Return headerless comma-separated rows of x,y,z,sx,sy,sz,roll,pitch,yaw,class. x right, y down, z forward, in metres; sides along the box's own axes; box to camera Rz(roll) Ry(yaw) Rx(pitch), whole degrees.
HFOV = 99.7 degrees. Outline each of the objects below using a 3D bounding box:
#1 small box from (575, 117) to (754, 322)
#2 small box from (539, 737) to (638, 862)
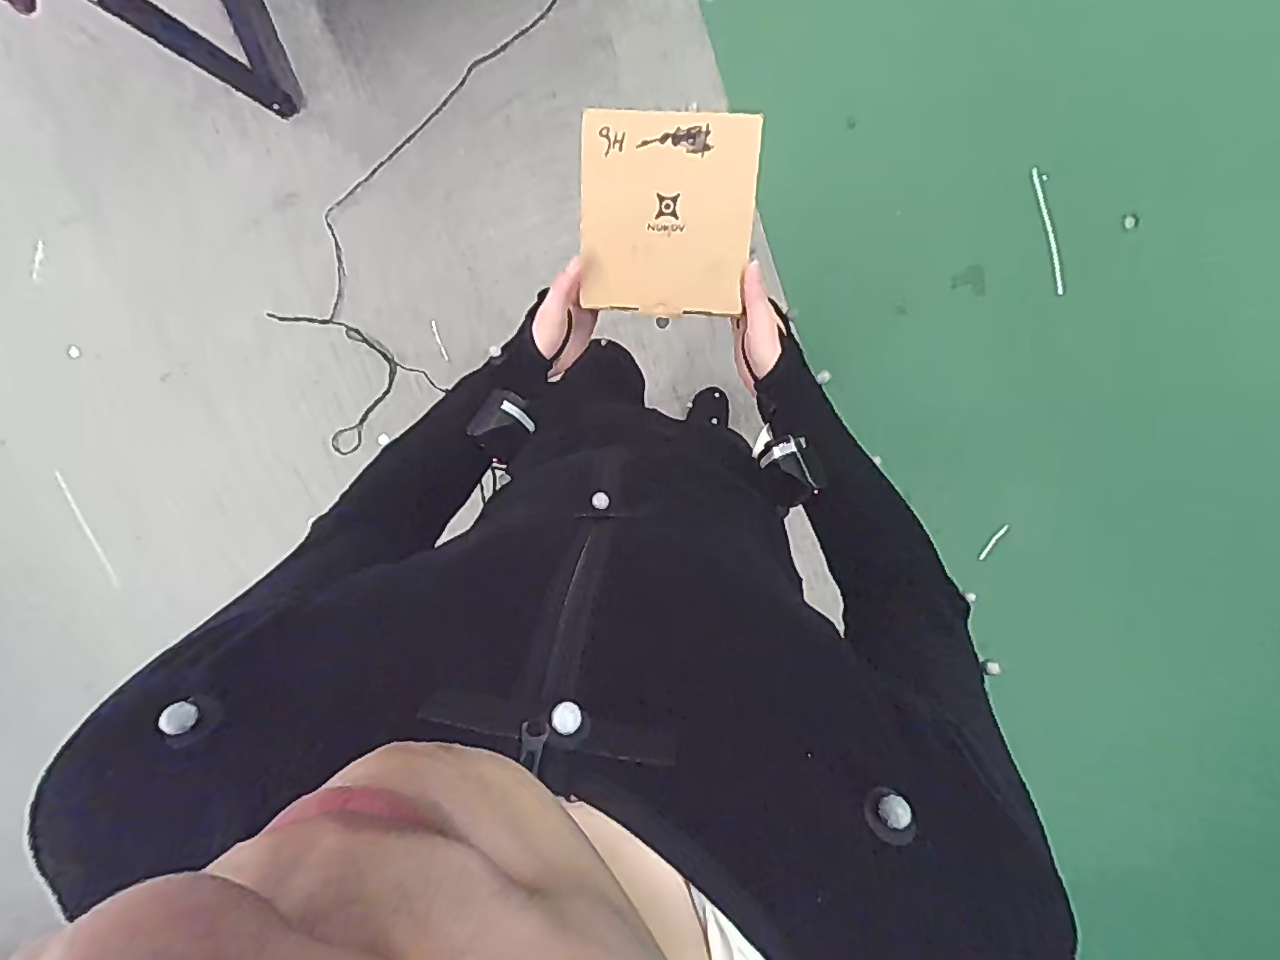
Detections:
0.026,-0.269,0.590,0.168,0.176,0.179,3,108,4,small box
-0.110,0.735,1.253,0.168,0.176,0.179,-14,100,10,small box
